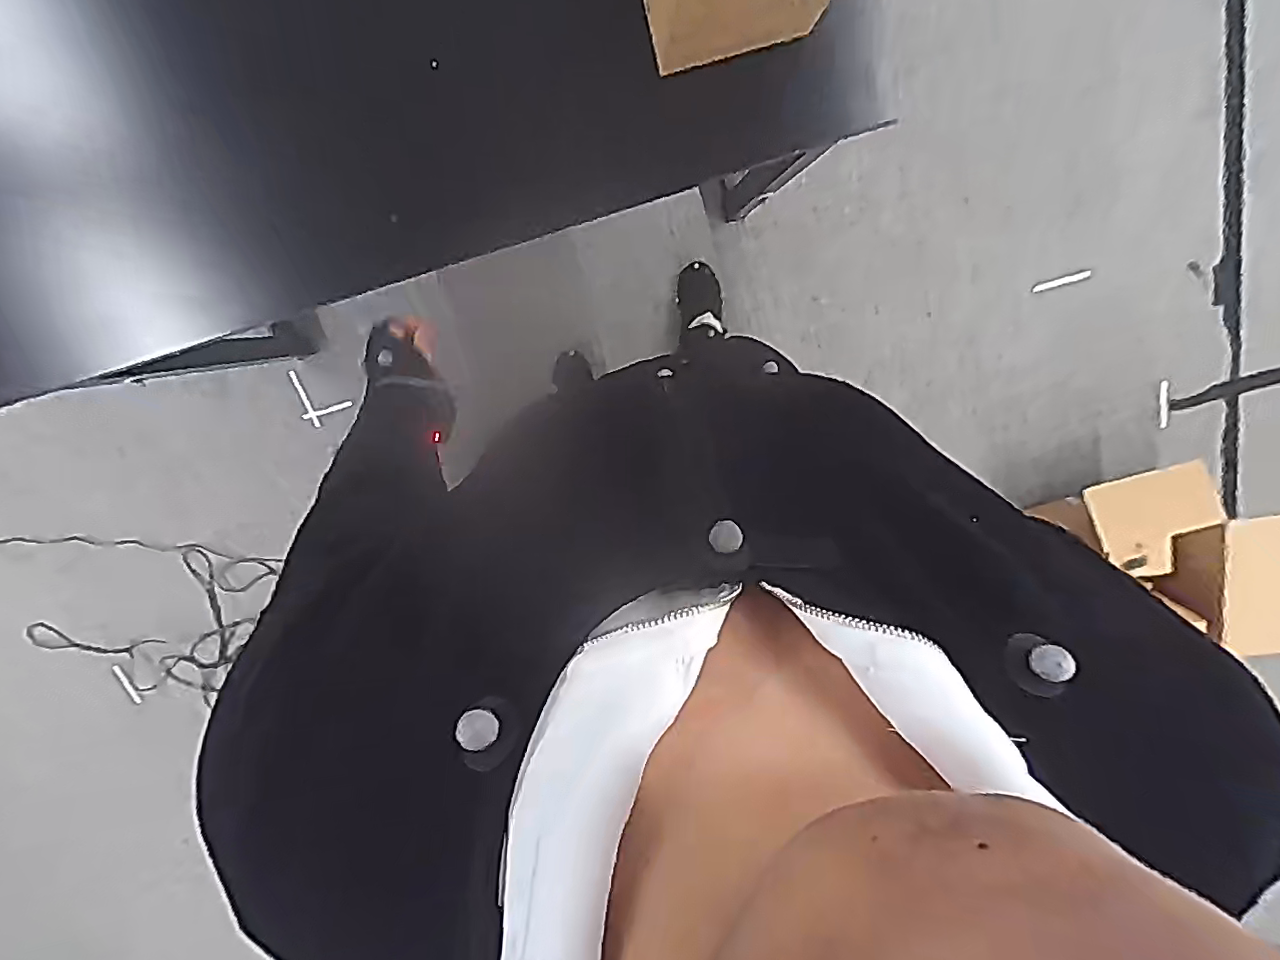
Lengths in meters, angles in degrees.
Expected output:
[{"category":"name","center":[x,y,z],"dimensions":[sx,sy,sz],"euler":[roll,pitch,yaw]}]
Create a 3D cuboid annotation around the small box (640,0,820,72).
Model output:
[{"category":"small box","center":[0.086,-0.535,0.515],"dimensions":[0.179,0.176,0.168],"euler":[-14,105,2]}]
